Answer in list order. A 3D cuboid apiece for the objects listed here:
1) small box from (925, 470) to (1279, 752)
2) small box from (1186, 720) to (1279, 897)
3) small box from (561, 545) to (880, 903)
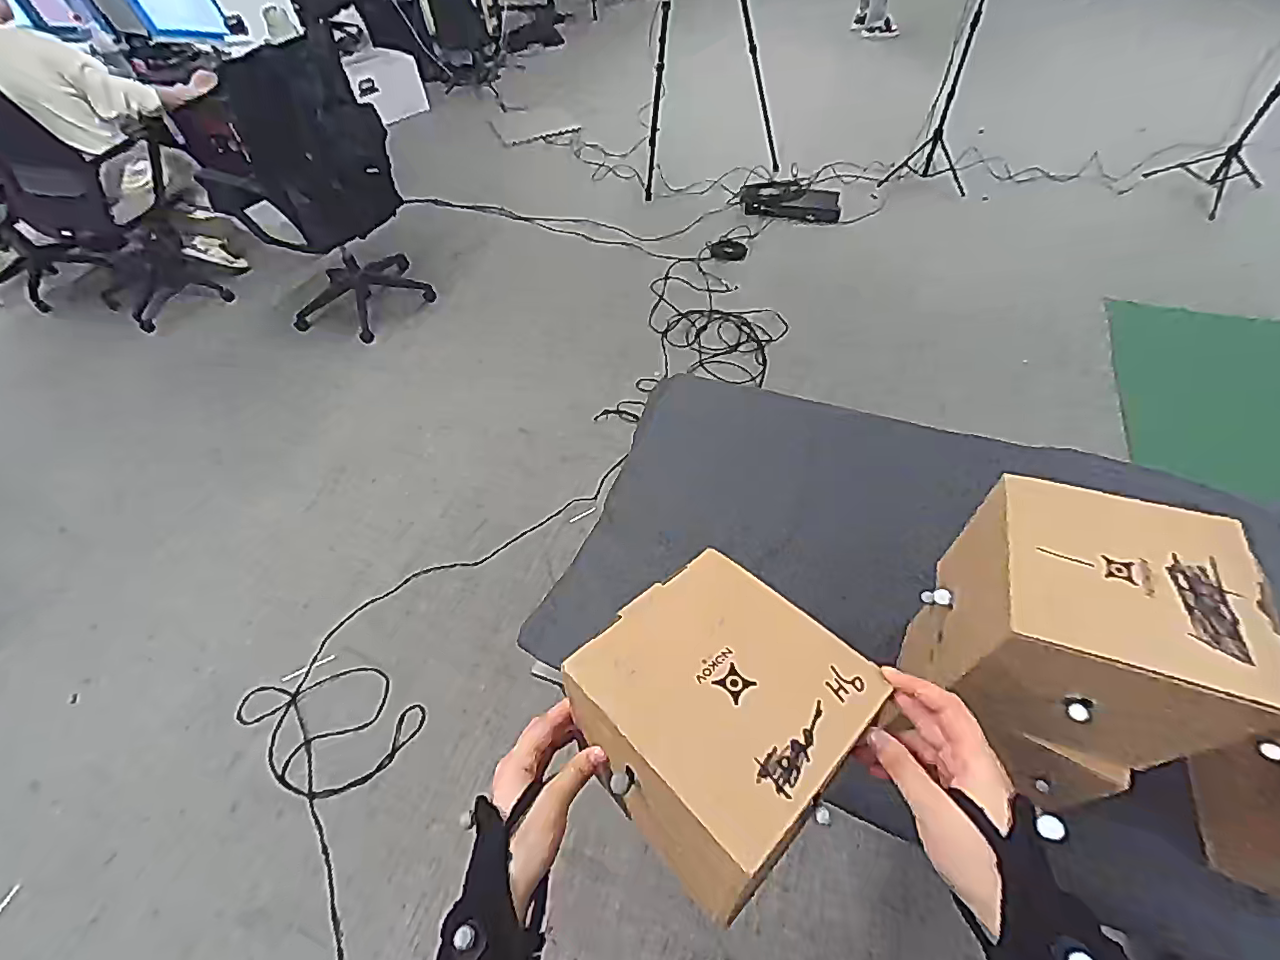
[{"bbox_3d":[0.383,0.121,0.484,0.179,0.176,0.168,15,54,16],"label":"small box"},{"bbox_3d":[0.687,0.309,0.521,0.168,0.176,0.179,14,55,17],"label":"small box"},{"bbox_3d":[0.057,0.194,0.446,0.168,0.176,0.179,-31,48,-30],"label":"small box"}]
